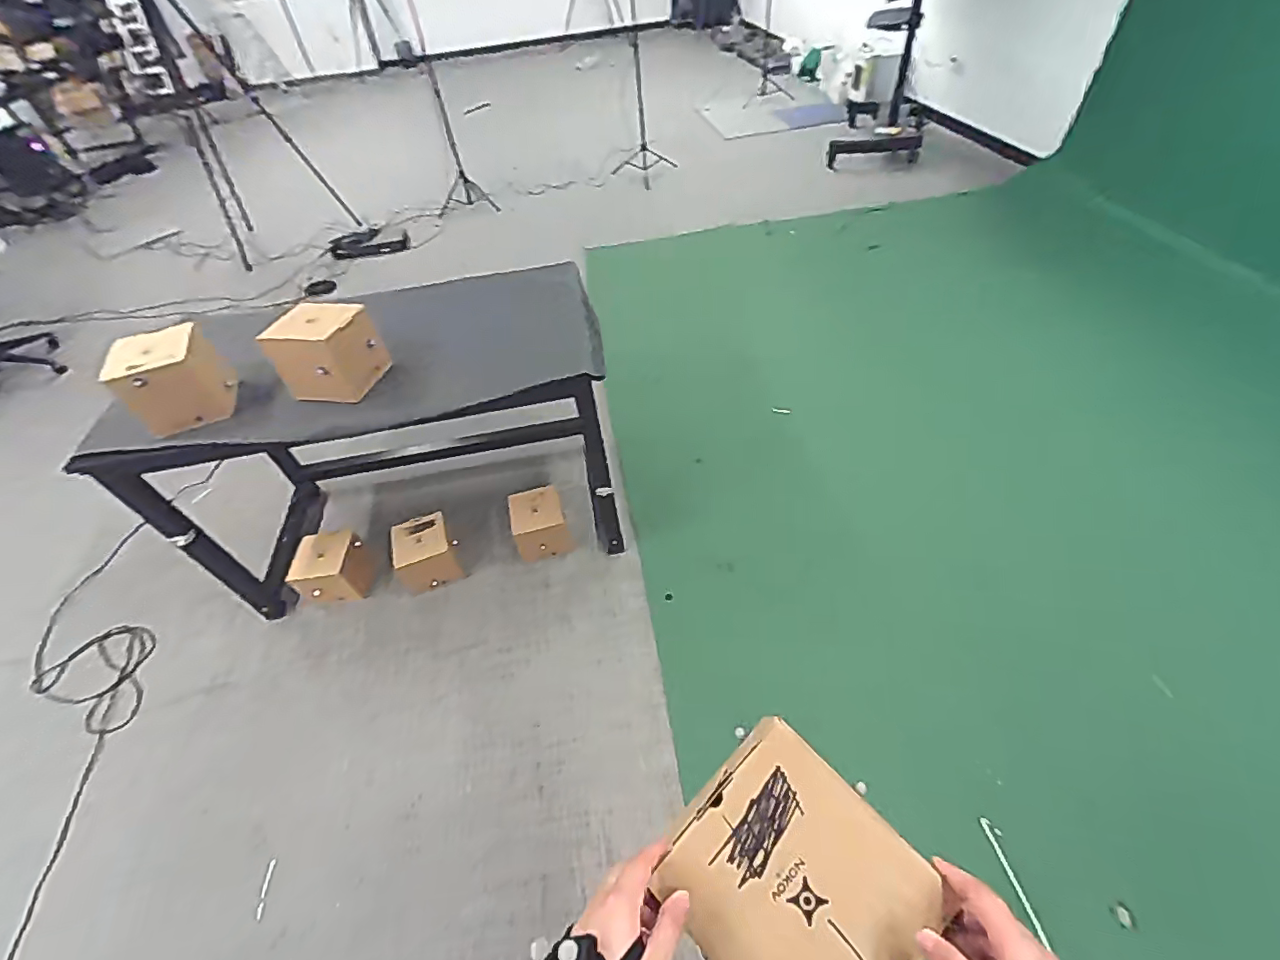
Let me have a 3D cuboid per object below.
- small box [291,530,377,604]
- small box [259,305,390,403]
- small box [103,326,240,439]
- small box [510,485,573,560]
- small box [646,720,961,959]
[{"bbox_3d":[-0.990,0.292,1.767,0.168,0.176,0.179,-8,47,0],"label":"small box"},{"bbox_3d":[-0.729,-0.295,1.276,0.179,0.176,0.168,3,45,12],"label":"small box"},{"bbox_3d":[-1.070,-0.226,1.255,0.168,0.176,0.179,-20,49,-11],"label":"small box"},{"bbox_3d":[-0.326,0.149,1.808,0.168,0.176,0.179,-14,48,-6],"label":"small box"},{"bbox_3d":[0.129,0.342,0.481,0.179,0.176,0.168,40,78,21],"label":"small box"}]
